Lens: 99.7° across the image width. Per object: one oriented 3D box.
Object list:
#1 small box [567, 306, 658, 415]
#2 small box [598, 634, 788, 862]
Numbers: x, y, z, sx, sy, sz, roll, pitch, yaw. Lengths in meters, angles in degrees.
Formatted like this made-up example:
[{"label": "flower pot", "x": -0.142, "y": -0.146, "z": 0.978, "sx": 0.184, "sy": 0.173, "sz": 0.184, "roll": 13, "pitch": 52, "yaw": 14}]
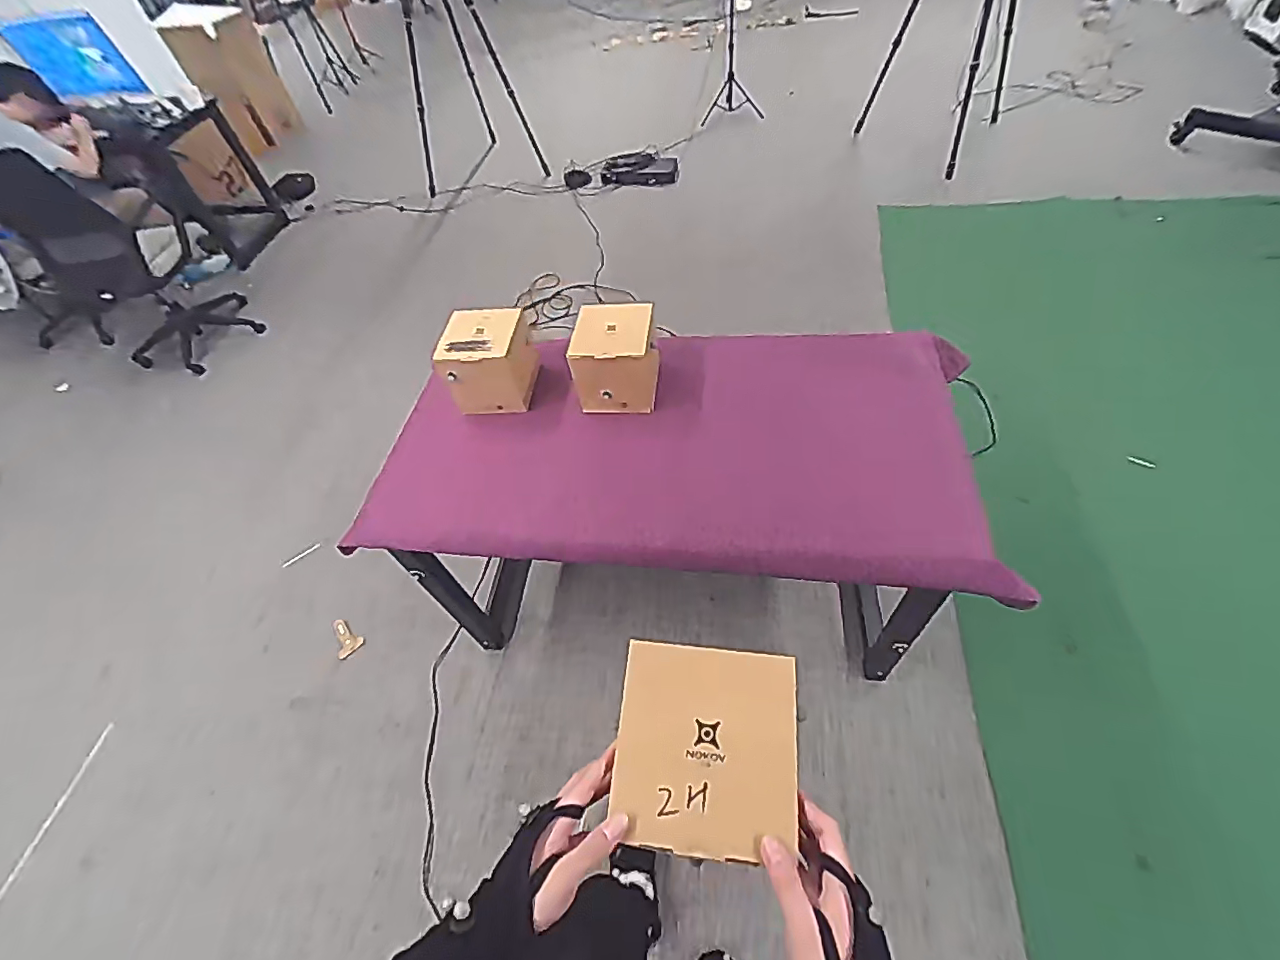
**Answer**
[{"label": "small box", "x": -0.053, "y": -0.269, "z": 1.218, "sx": 0.168, "sy": 0.176, "sz": 0.179, "roll": 1, "pitch": 55, "yaw": 10}, {"label": "small box", "x": 0.061, "y": 0.279, "z": 0.574, "sx": 0.168, "sy": 0.176, "sz": 0.179, "roll": 4, "pitch": 61, "yaw": 9}]
